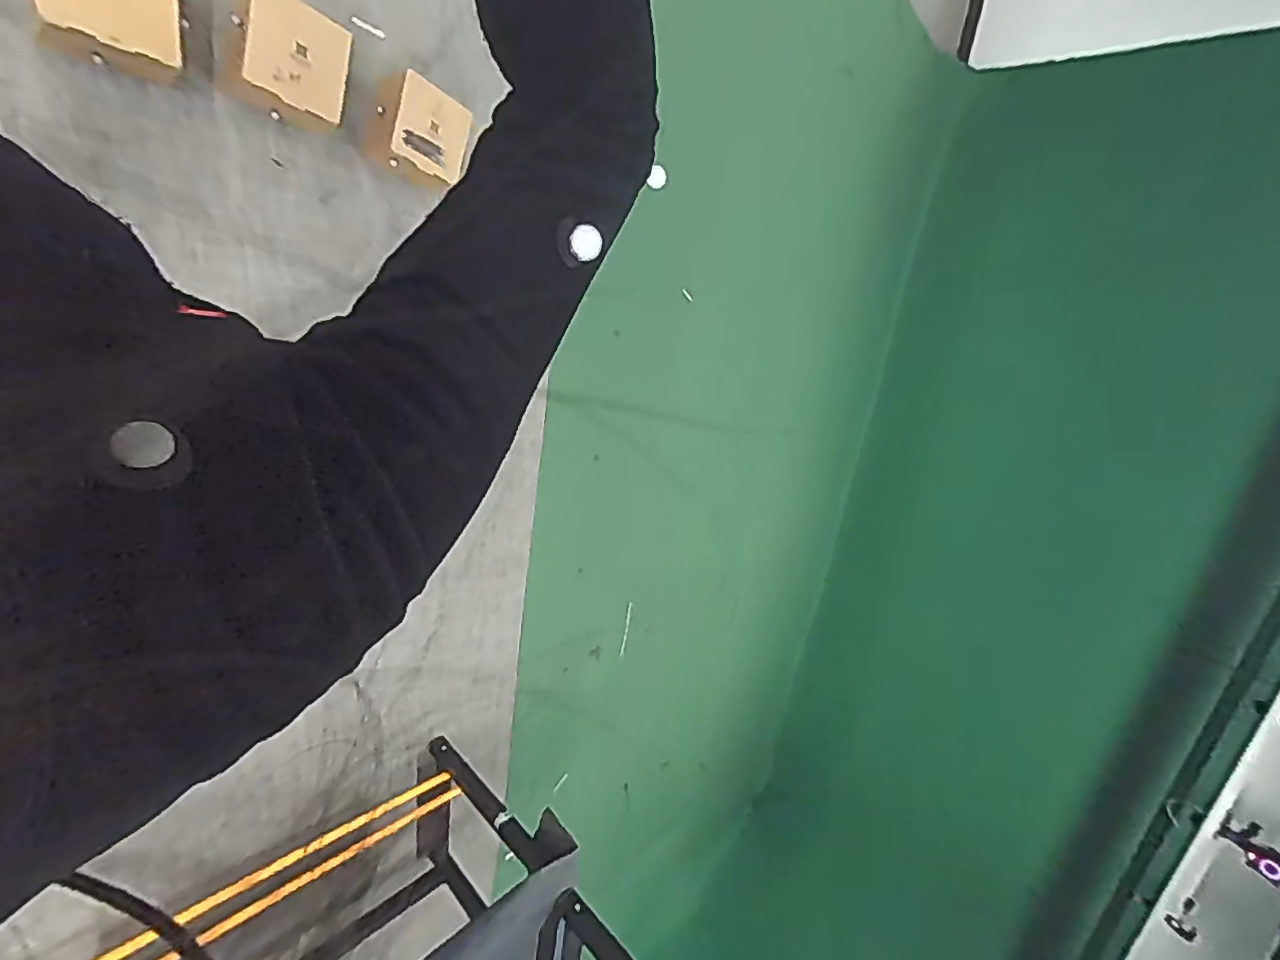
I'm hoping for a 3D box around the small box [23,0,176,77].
[{"bbox_3d":[-0.876,-0.794,0.873,0.168,0.176,0.179,-8,114,-48],"label":"small box"}]

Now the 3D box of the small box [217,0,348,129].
[{"bbox_3d":[-0.704,-0.827,1.060,0.168,0.176,0.179,3,106,-50],"label":"small box"}]
